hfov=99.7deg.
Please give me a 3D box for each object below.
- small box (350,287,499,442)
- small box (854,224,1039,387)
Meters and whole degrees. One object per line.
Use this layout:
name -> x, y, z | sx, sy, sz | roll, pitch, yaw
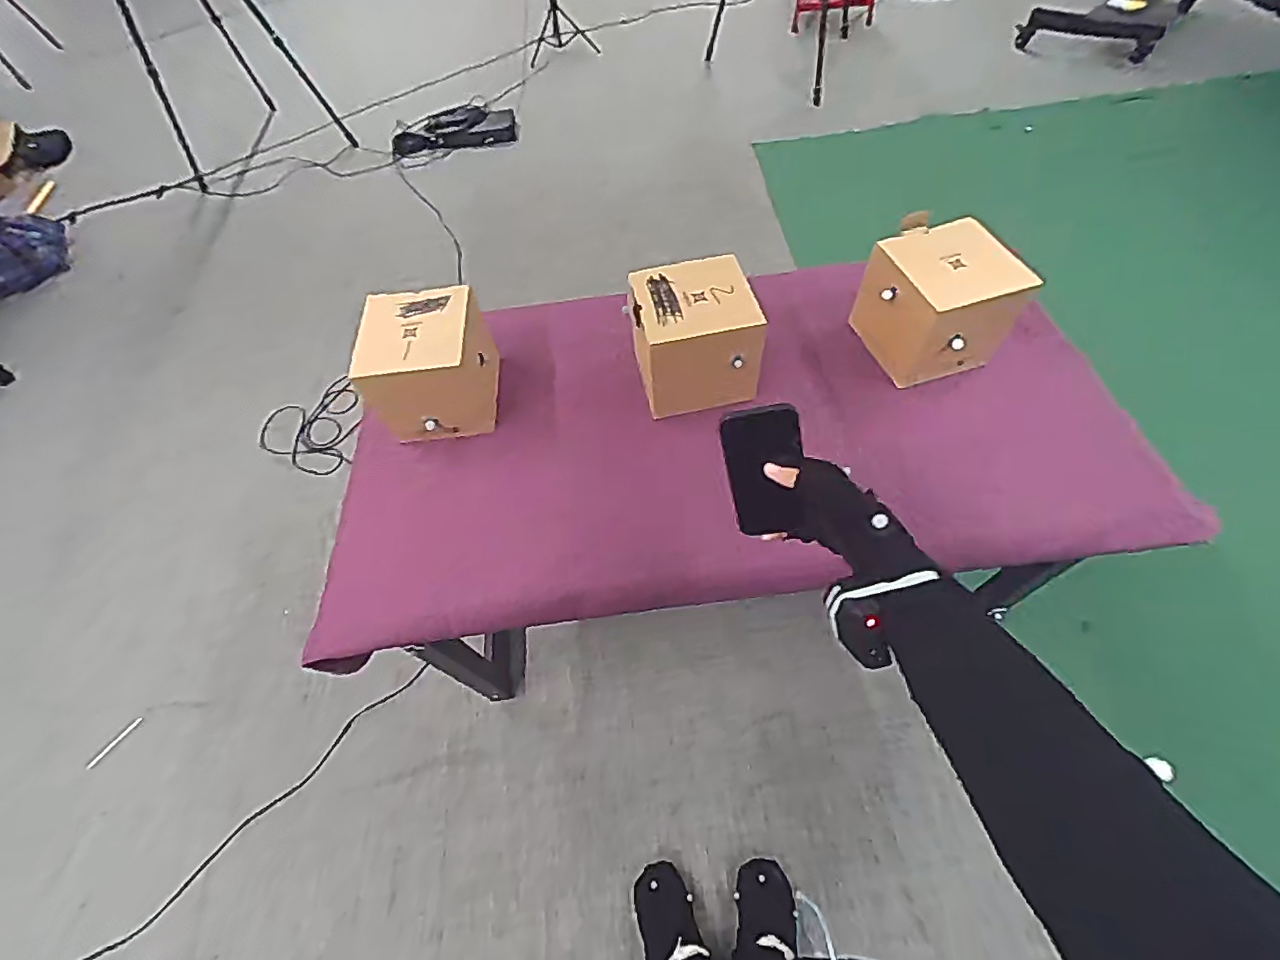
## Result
small box -> -0.334, -0.184, 0.879 | 0.168, 0.176, 0.179 | -6, 59, 1
small box -> 0.475, -0.271, 0.871 | 0.168, 0.176, 0.179 | -16, 57, -5
